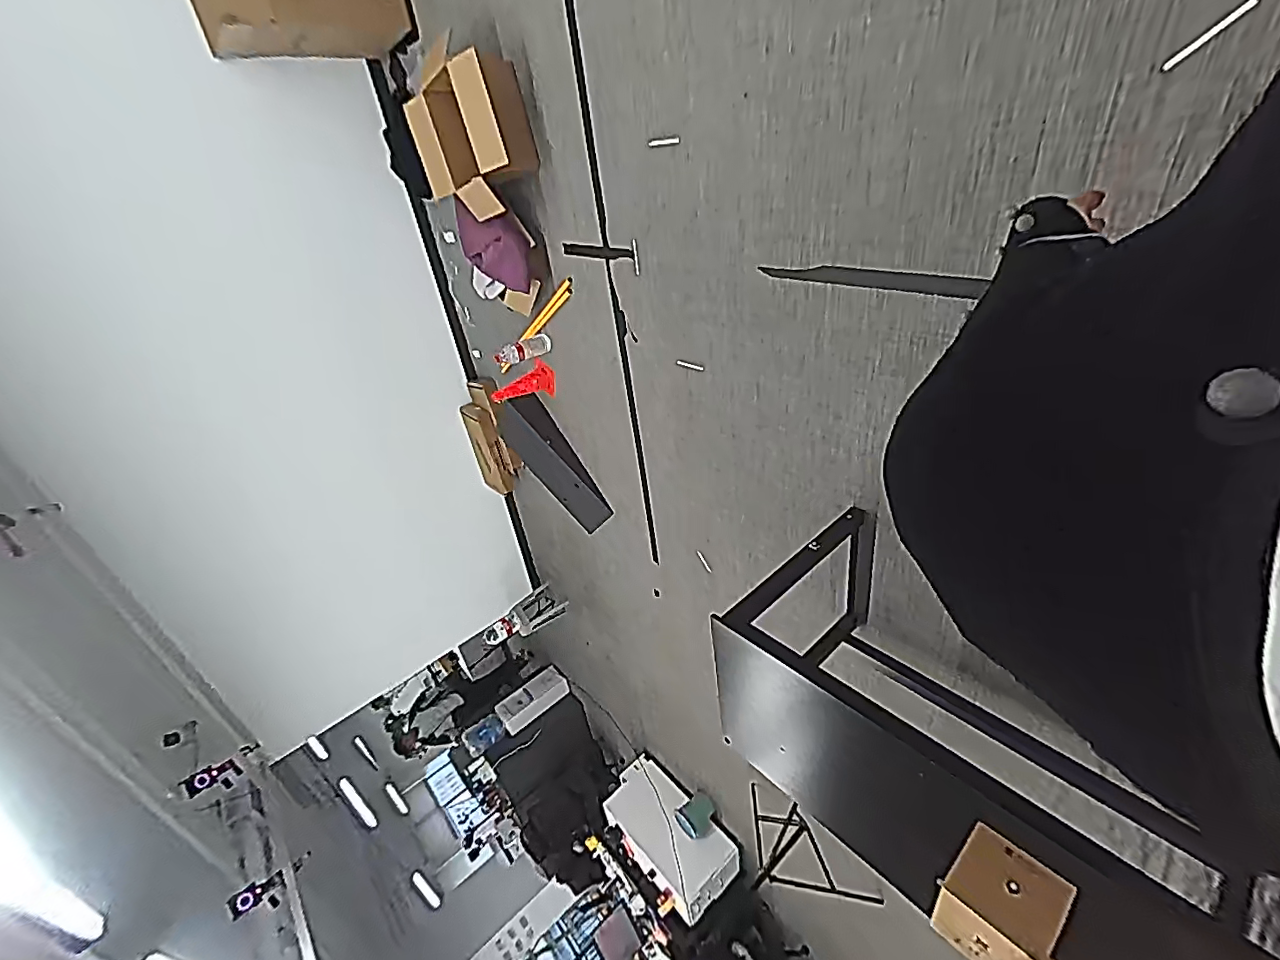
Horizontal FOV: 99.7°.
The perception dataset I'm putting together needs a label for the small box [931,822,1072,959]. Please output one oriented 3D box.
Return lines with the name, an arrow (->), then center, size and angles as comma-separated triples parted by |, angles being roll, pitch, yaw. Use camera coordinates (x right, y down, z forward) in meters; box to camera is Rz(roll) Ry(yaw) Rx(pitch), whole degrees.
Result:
small box -> 0.692, 0.813, 1.040 | 0.168, 0.176, 0.179 | 27, 137, 44
